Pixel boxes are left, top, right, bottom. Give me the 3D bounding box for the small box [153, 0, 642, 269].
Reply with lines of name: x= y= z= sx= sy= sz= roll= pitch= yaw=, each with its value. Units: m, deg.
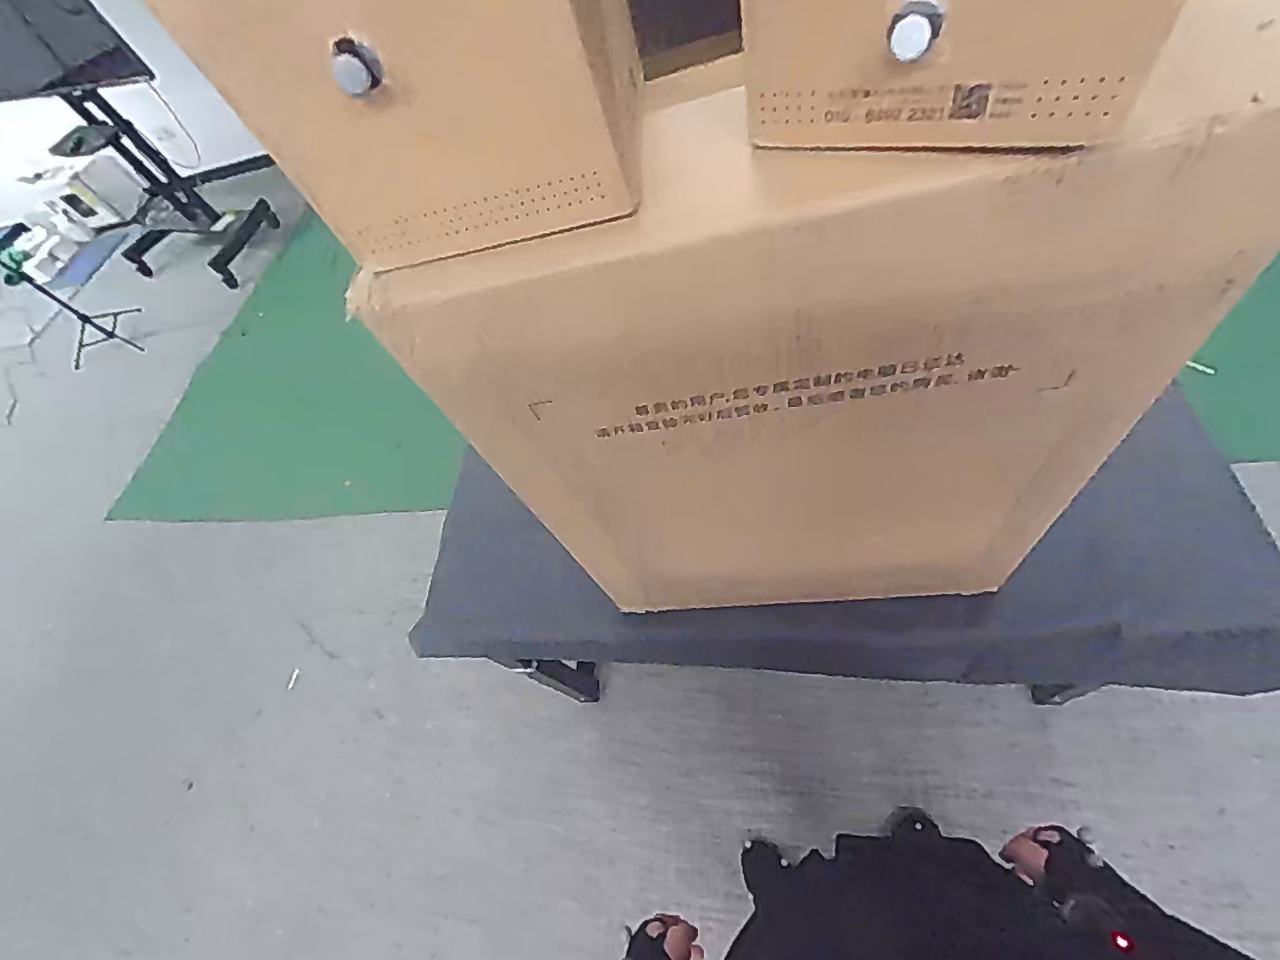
small box: x=-0.107 y=-0.245 z=0.299 sx=0.179 sy=0.176 sz=0.168 roll=-7 pitch=59 yaw=14
